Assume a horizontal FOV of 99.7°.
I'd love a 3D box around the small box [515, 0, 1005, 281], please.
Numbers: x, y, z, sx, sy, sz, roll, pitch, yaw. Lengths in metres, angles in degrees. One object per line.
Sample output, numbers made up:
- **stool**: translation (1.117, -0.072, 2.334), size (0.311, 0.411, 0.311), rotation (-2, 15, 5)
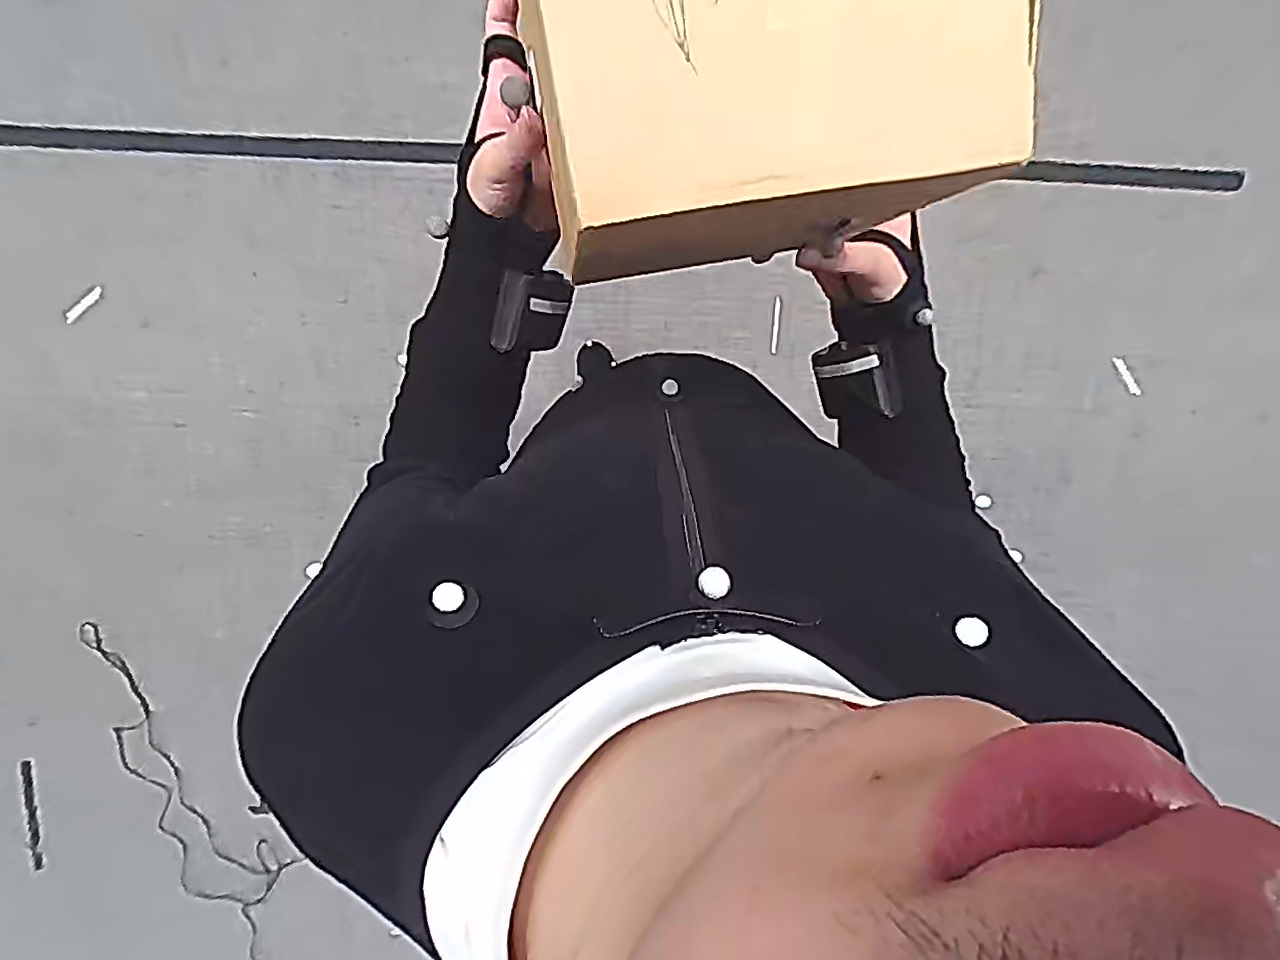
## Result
- **small box**: translation (0.036, -0.204, 0.264), size (0.179, 0.176, 0.168), rotation (-12, 104, -4)
